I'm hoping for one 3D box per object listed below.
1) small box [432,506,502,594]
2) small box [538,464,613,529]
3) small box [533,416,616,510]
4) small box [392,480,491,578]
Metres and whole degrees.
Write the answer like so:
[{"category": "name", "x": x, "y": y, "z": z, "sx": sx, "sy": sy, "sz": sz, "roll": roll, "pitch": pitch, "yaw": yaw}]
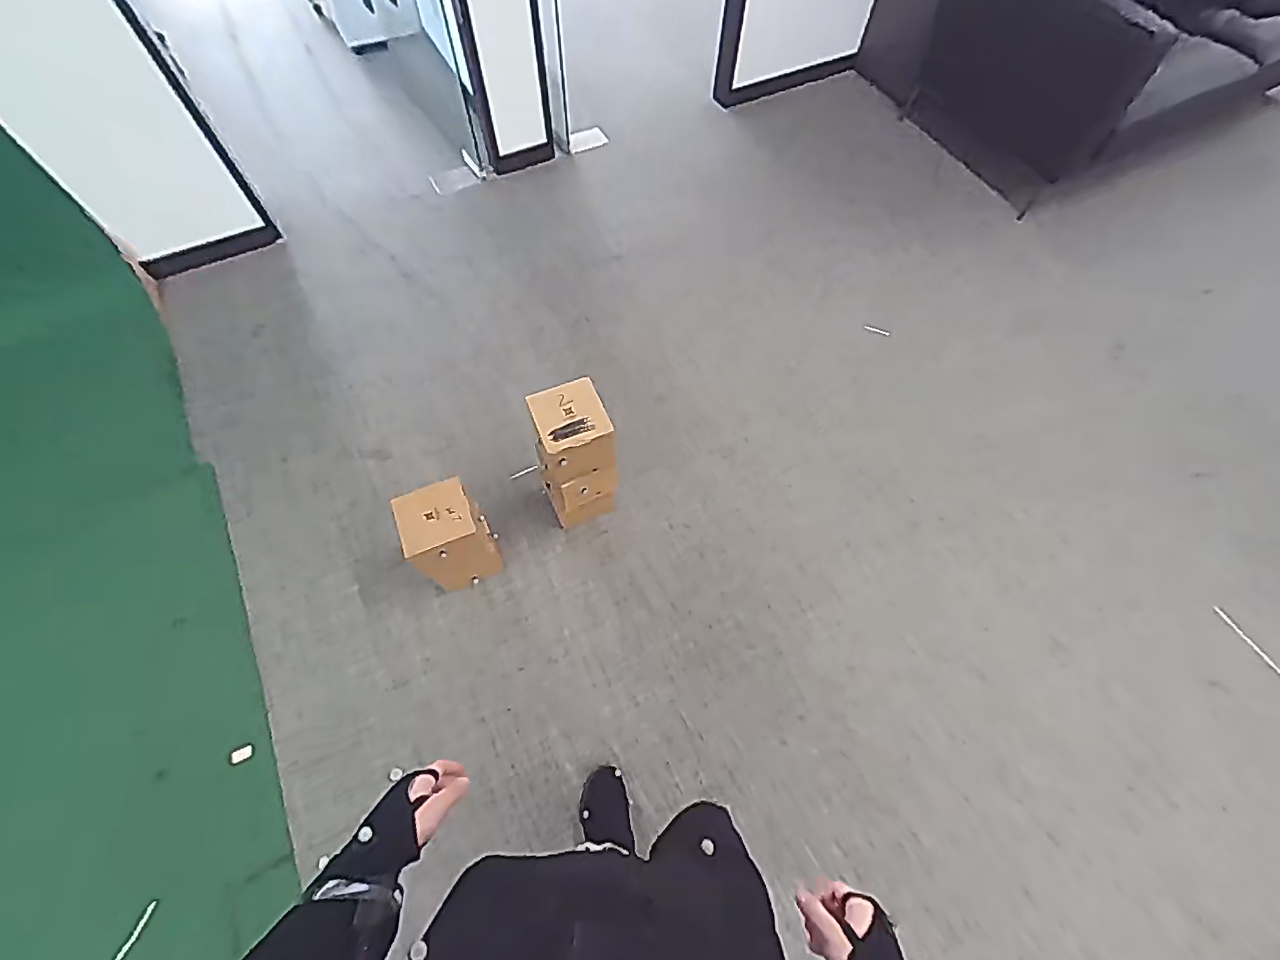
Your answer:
[{"category": "small box", "x": -0.503, "y": 0.204, "z": 1.539, "sx": 0.179, "sy": 0.176, "sz": 0.168, "roll": -22, "pitch": 66, "yaw": -12}, {"category": "small box", "x": -0.189, "y": 0.025, "z": 1.636, "sx": 0.179, "sy": 0.176, "sz": 0.168, "roll": -23, "pitch": 66, "yaw": -13}, {"category": "small box", "x": -0.173, "y": -0.038, "z": 1.487, "sx": 0.168, "sy": 0.176, "sz": 0.179, "roll": -27, "pitch": 67, "yaw": -14}, {"category": "small box", "x": -0.506, "y": 0.131, "z": 1.390, "sx": 0.179, "sy": 0.176, "sz": 0.168, "roll": -21, "pitch": 66, "yaw": -12}]
